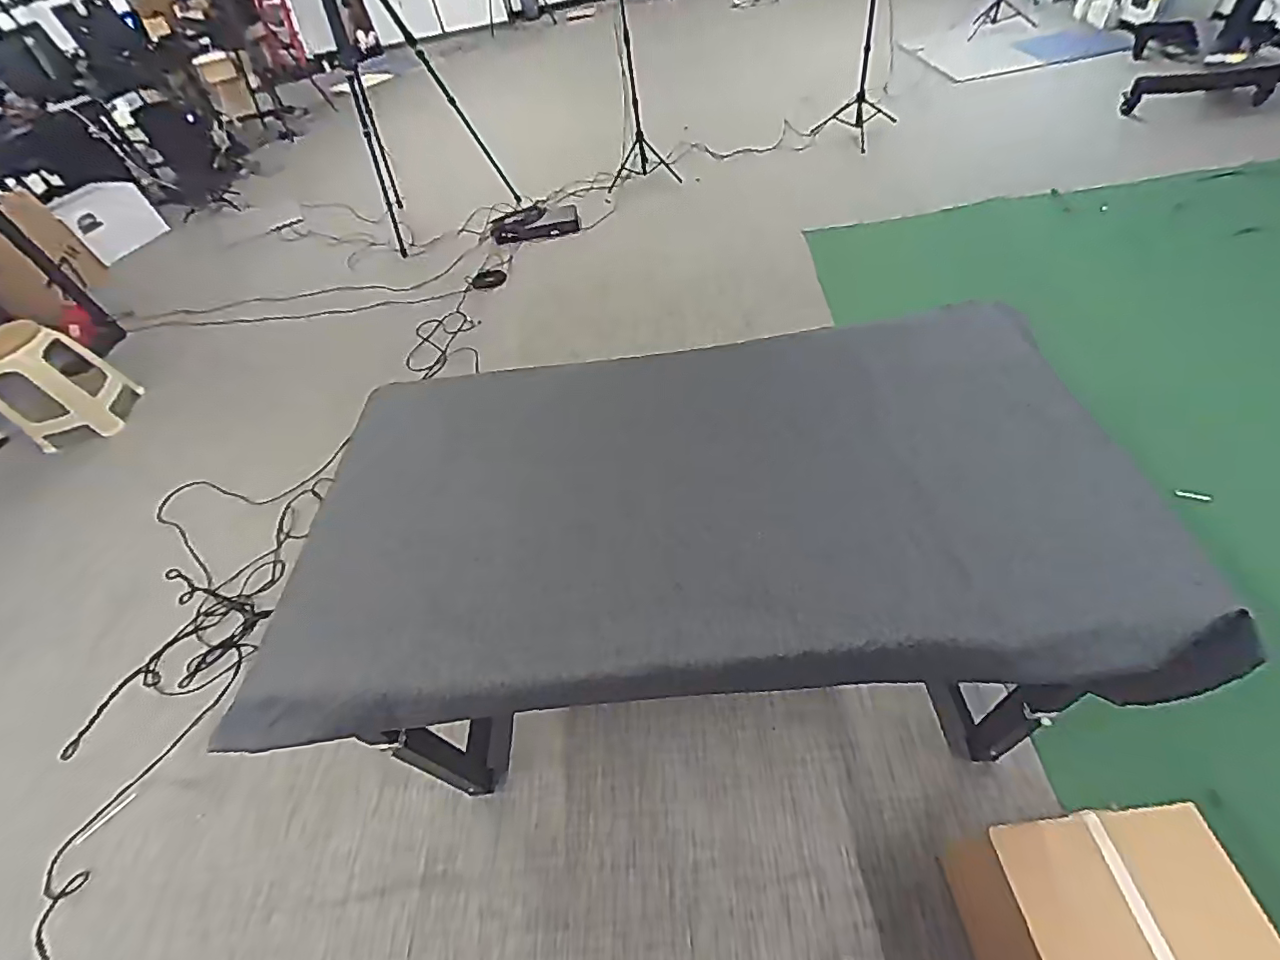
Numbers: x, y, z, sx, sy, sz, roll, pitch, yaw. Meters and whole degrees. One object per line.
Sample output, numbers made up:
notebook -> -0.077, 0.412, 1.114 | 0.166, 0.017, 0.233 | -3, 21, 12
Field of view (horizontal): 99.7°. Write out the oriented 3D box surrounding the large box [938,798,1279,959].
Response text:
large box -> 0.732, 0.757, 0.825 | 0.320, 0.320, 0.408 | -10, 50, 4
